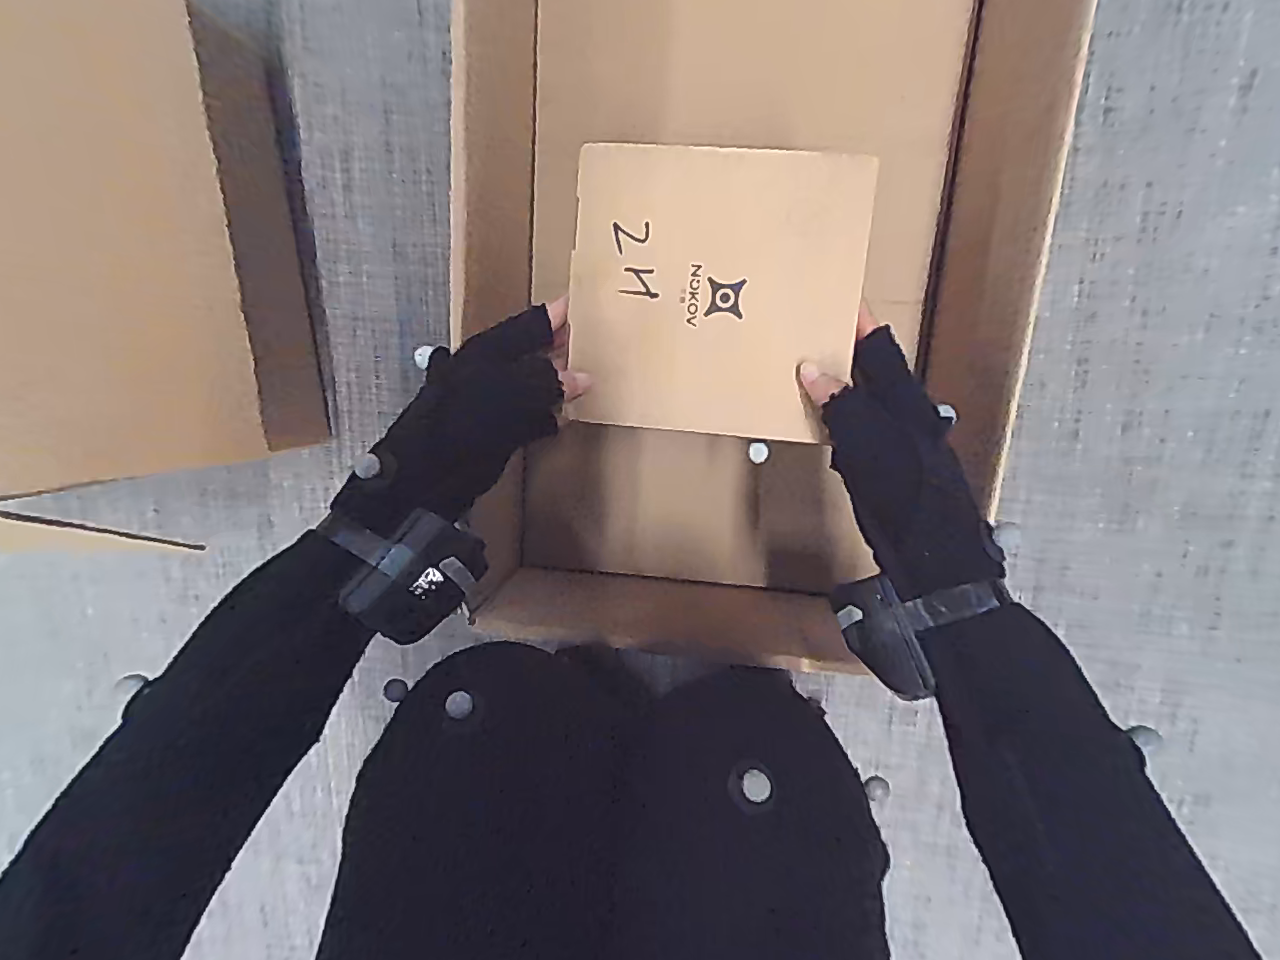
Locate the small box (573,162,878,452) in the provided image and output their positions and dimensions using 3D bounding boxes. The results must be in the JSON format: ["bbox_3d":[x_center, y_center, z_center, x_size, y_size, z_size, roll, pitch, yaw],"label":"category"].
[{"bbox_3d":[0.057,-0.117,0.420,0.179,0.176,0.168,7,96,6],"label":"small box"}]
